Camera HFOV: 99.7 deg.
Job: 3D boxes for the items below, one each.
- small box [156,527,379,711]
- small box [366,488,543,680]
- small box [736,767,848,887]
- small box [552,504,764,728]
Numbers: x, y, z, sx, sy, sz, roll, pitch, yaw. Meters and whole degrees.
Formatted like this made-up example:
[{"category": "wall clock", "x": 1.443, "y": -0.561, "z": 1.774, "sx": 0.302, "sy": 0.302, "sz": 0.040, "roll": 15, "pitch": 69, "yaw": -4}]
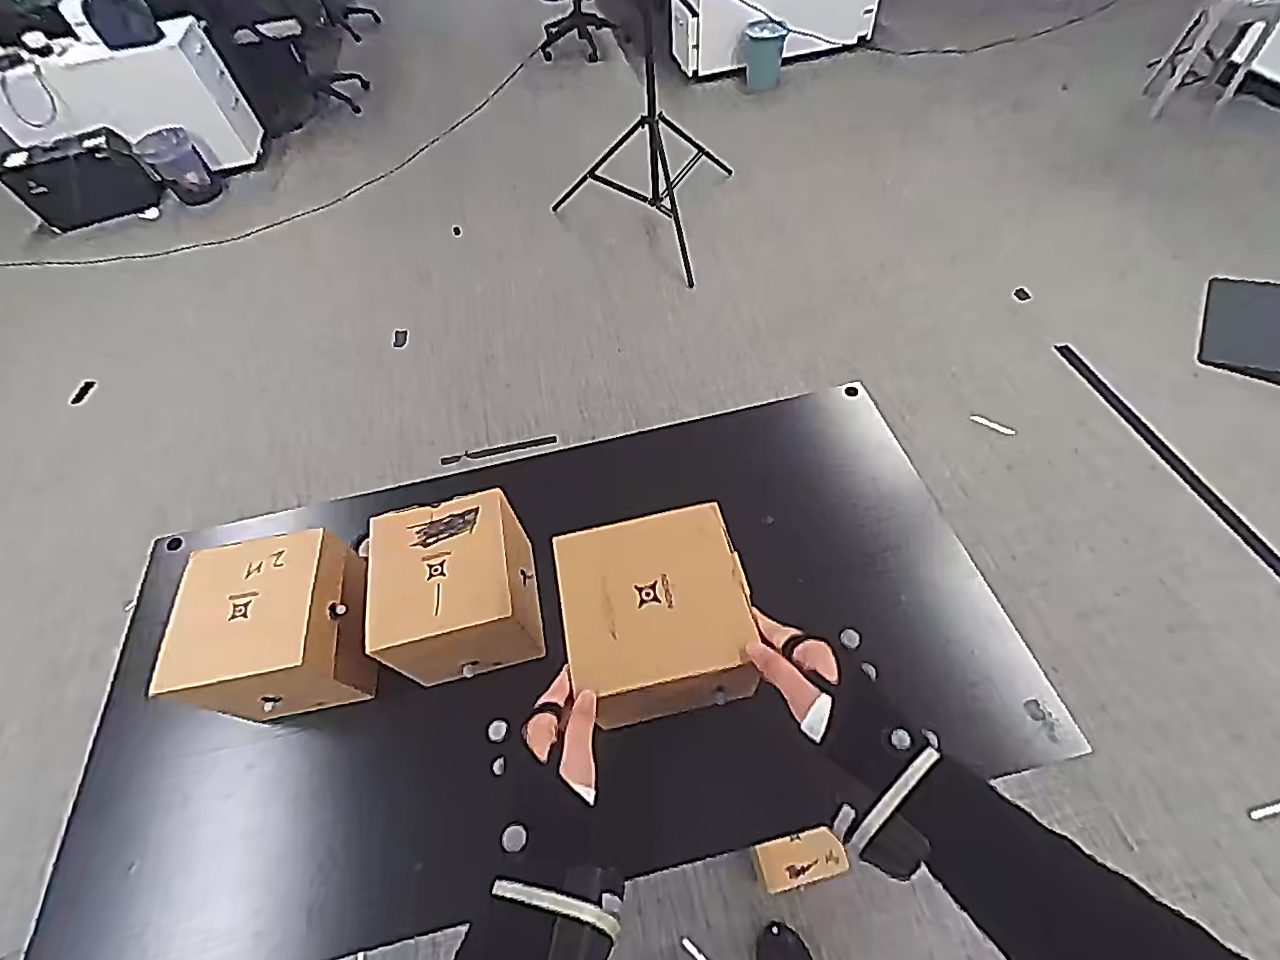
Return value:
[{"category": "small box", "x": -0.452, "y": 0.187, "z": 0.697, "sx": 0.168, "sy": 0.176, "sz": 0.179, "roll": -10, "pitch": 56, "yaw": -2}, {"category": "small box", "x": -0.233, "y": 0.140, "z": 0.707, "sx": 0.168, "sy": 0.176, "sz": 0.179, "roll": -14, "pitch": 57, "yaw": -3}, {"category": "small box", "x": 0.307, "y": 0.730, "z": 1.140, "sx": 0.168, "sy": 0.176, "sz": 0.179, "roll": -15, "pitch": 56, "yaw": -3}, {"category": "small box", "x": 0.017, "y": 0.151, "z": 0.580, "sx": 0.179, "sy": 0.176, "sz": 0.168, "roll": -14, "pitch": 56, "yaw": -1}]
